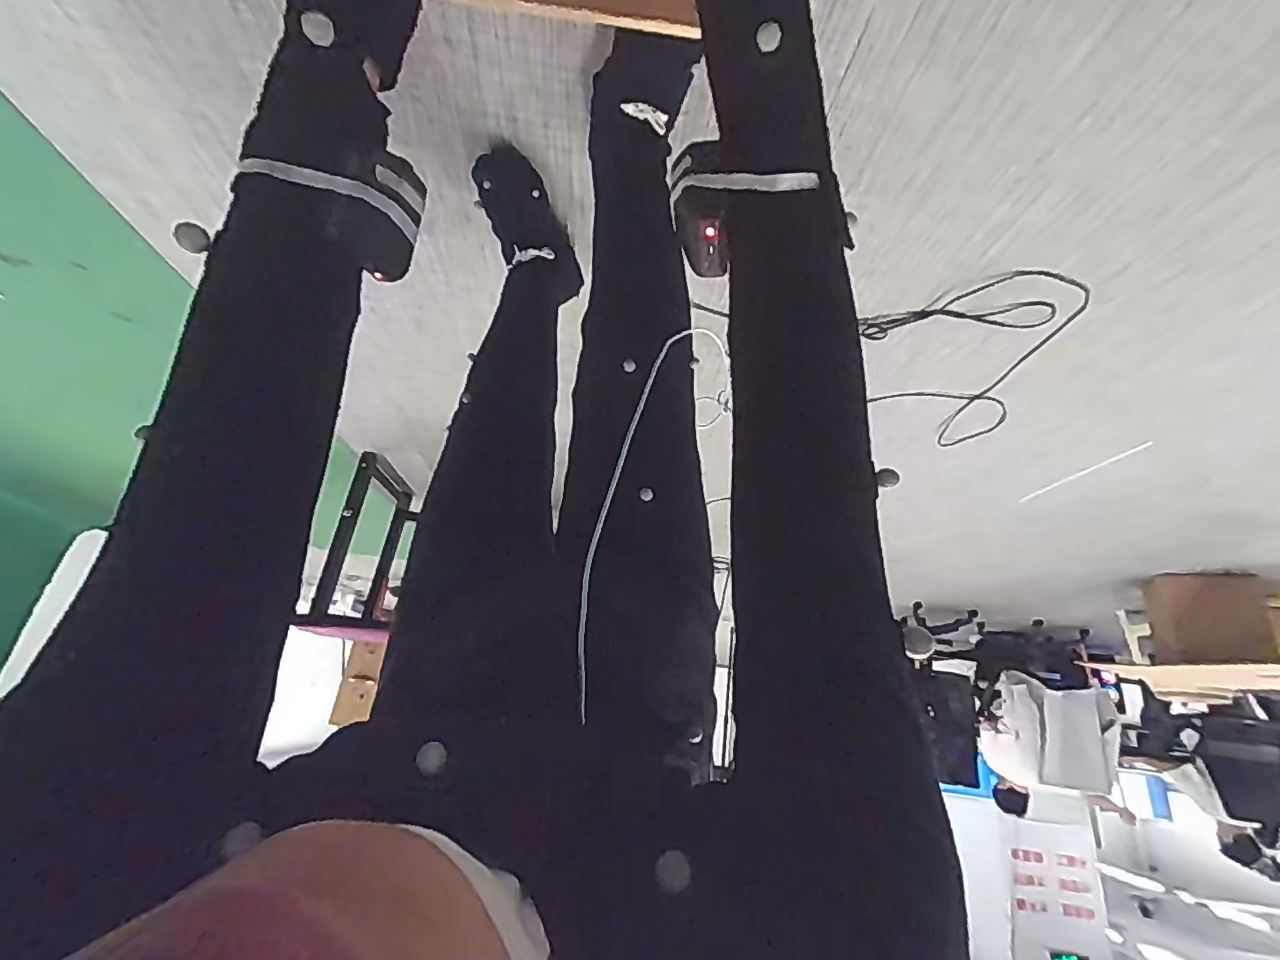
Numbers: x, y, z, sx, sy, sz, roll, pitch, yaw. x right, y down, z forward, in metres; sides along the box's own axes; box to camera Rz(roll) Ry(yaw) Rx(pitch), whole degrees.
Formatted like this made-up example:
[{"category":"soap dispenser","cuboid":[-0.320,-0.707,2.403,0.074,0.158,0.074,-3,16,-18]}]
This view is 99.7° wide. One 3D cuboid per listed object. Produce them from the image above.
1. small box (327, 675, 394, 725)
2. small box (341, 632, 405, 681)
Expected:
[{"category":"small box","cuboid":[-1.123,0.888,2.192,0.168,0.176,0.179,8,158,-2]},{"category":"small box","cuboid":[-1.099,0.735,2.246,0.168,0.176,0.179,7,159,-2]}]
